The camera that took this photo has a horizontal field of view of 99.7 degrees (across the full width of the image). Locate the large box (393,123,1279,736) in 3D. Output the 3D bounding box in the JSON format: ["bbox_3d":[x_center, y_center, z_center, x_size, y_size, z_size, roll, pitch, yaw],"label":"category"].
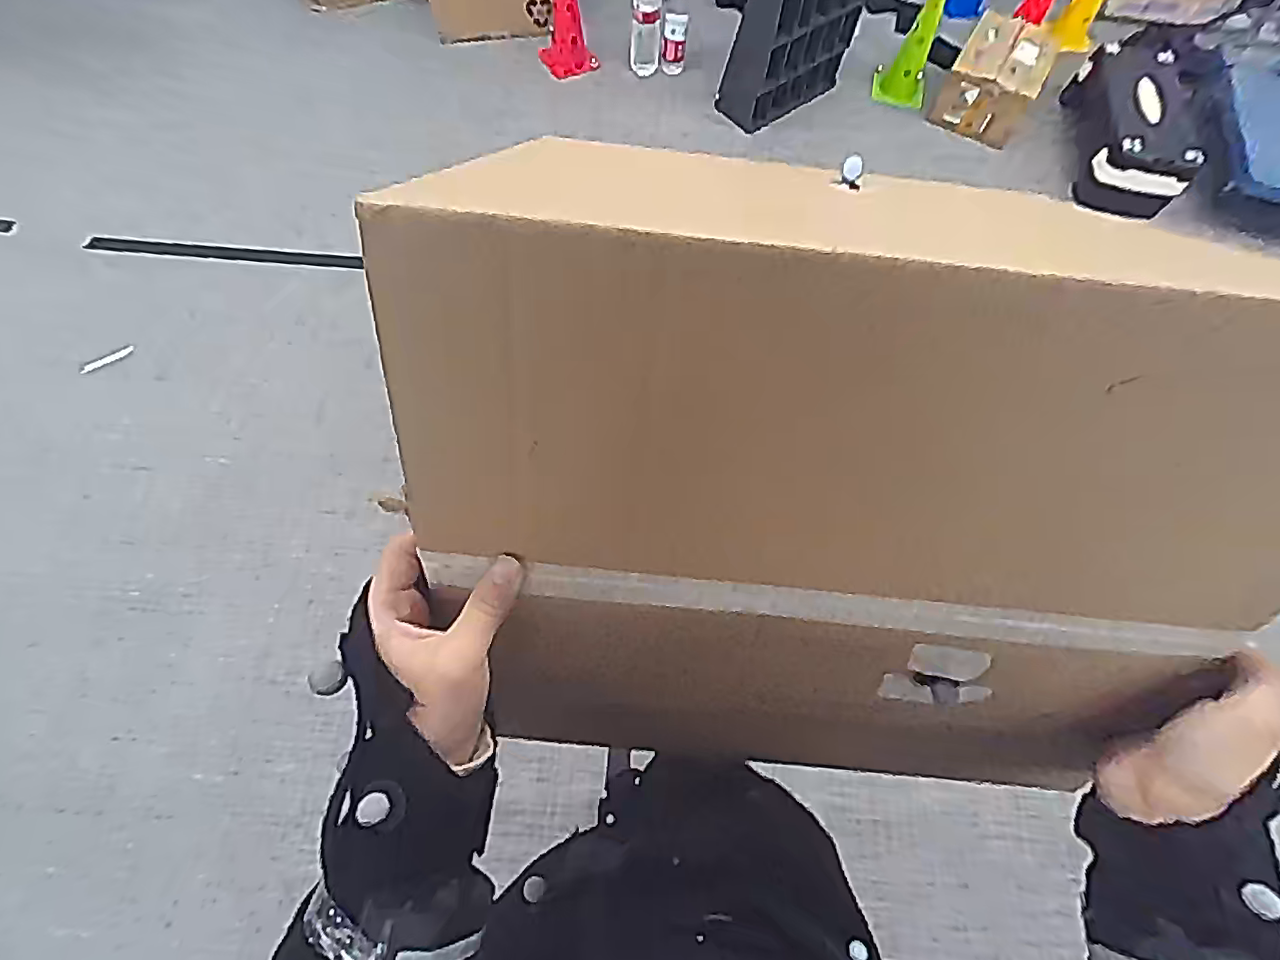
[{"bbox_3d":[0.109,-0.056,0.385,0.408,0.320,0.320,5,36,-1],"label":"large box"}]
